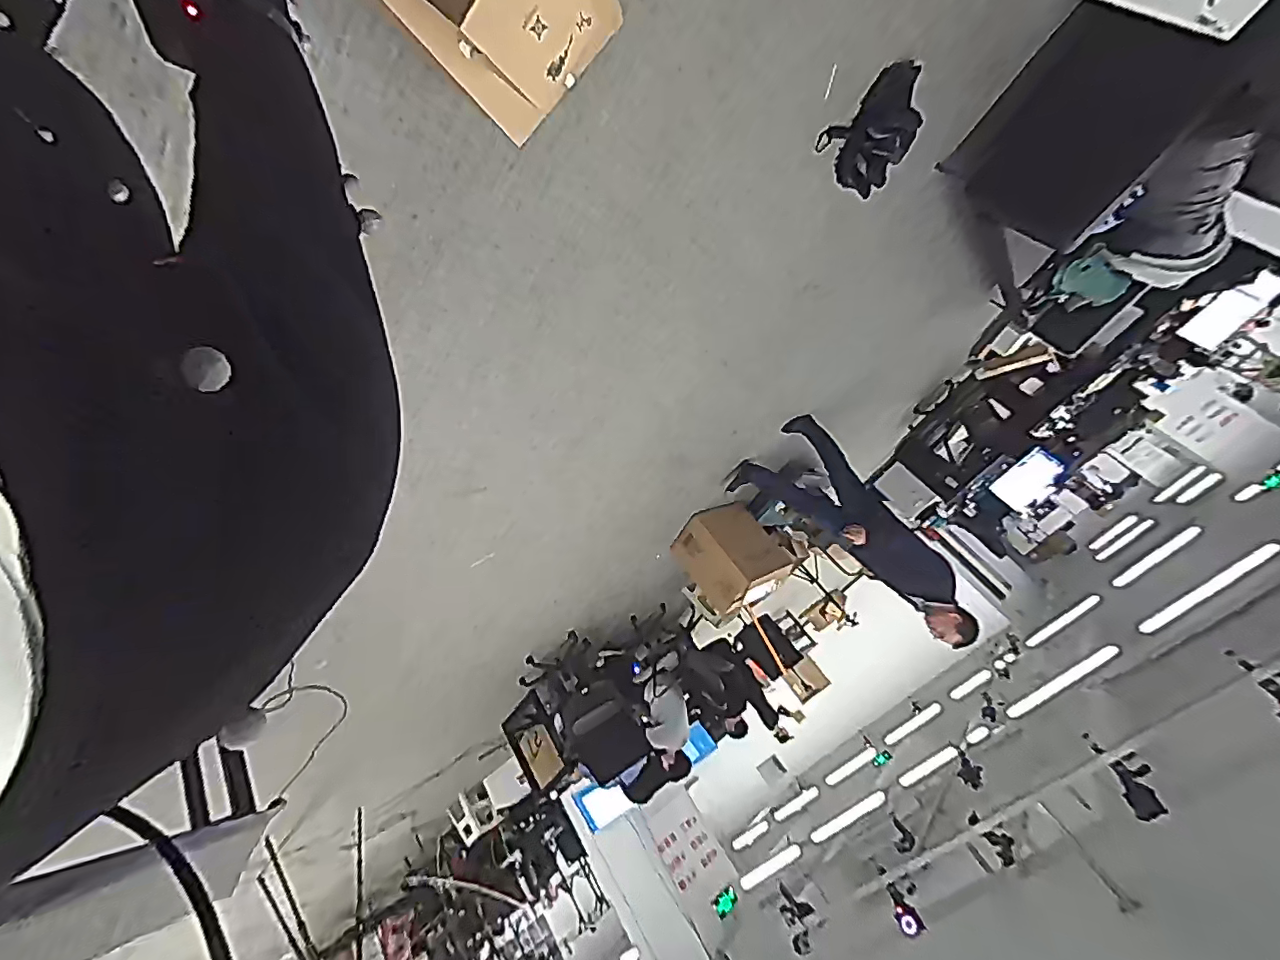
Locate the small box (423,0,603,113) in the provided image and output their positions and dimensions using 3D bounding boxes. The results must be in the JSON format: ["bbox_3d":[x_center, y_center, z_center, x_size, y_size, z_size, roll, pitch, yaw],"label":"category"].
[{"bbox_3d":[-0.198,-0.722,0.828,0.168,0.176,0.179,-48,151,18],"label":"small box"}]
